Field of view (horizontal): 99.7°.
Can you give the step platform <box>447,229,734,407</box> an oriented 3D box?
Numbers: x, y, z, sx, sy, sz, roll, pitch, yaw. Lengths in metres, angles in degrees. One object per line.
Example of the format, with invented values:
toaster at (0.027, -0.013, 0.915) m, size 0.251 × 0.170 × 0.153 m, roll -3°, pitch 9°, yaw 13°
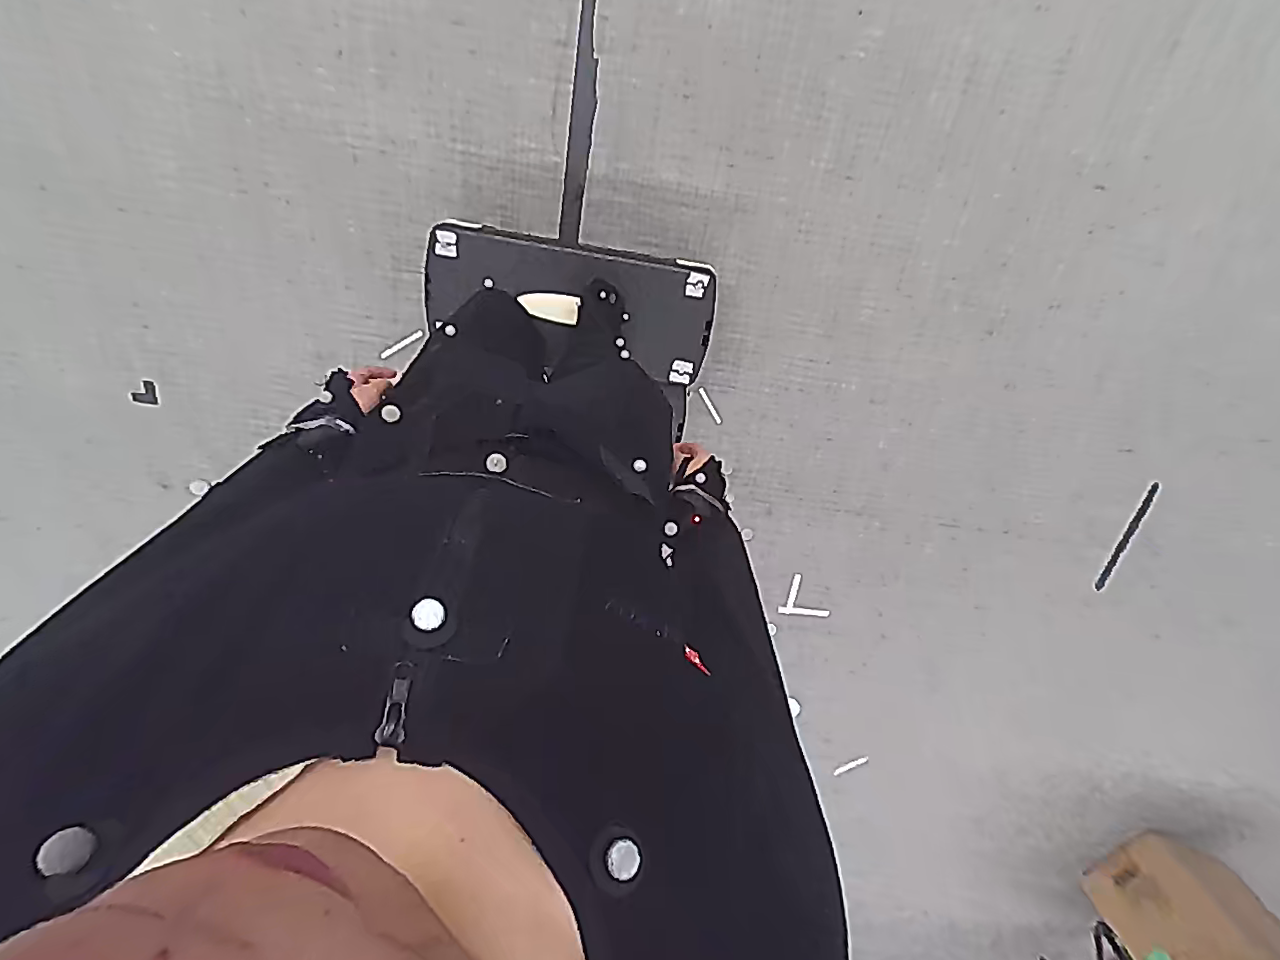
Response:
step platform at (-0.118, -0.395, 1.341) m, size 0.684 × 0.204 × 0.286 m, roll 12°, pitch 112°, yaw -6°
